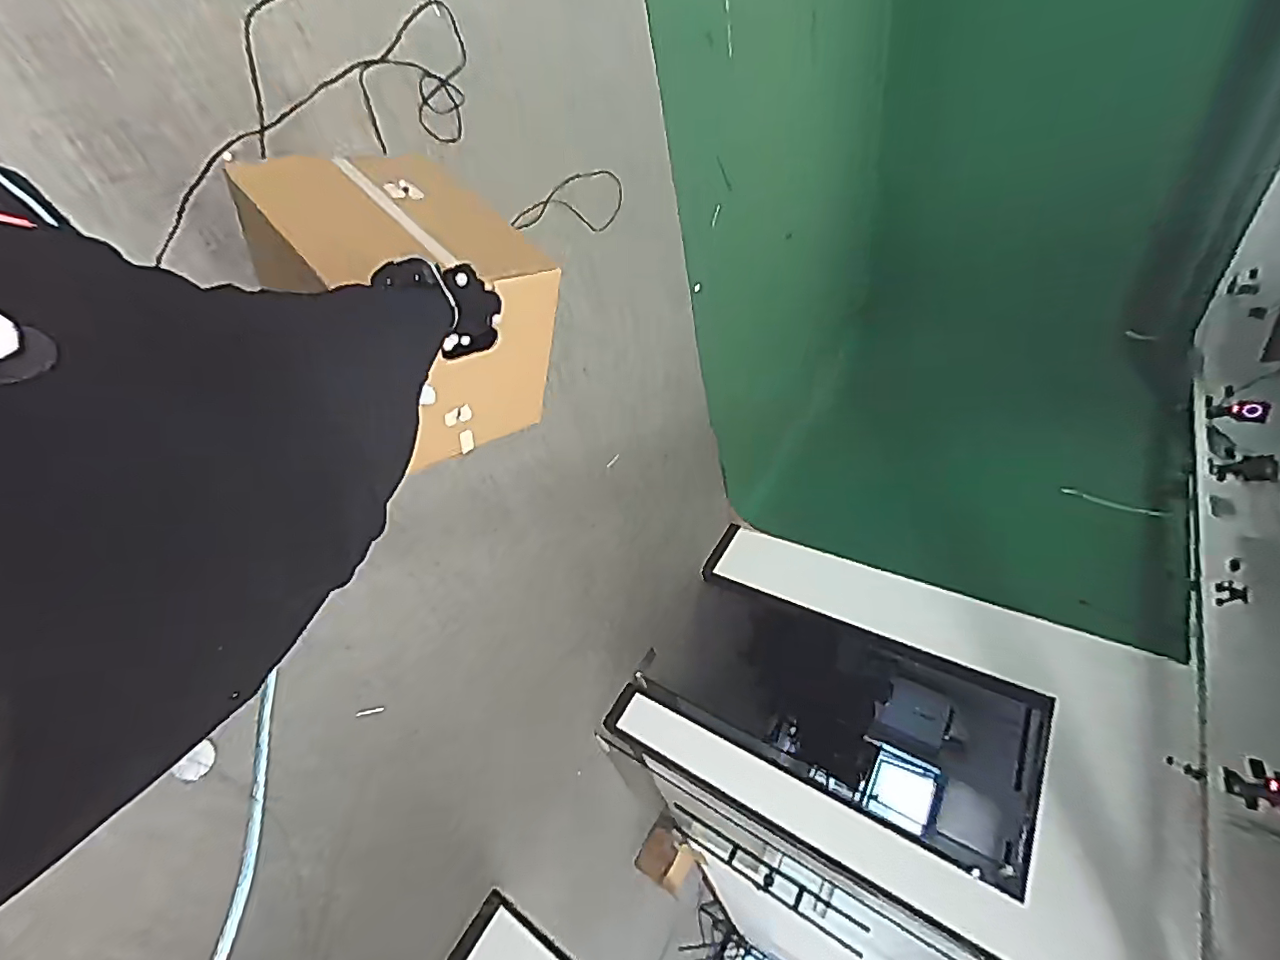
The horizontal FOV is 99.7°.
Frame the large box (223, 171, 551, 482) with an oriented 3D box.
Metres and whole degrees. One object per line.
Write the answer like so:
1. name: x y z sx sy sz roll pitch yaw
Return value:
1. large box: -0.406 -0.272 0.914 0.320 0.408 0.320 -28 151 -38
